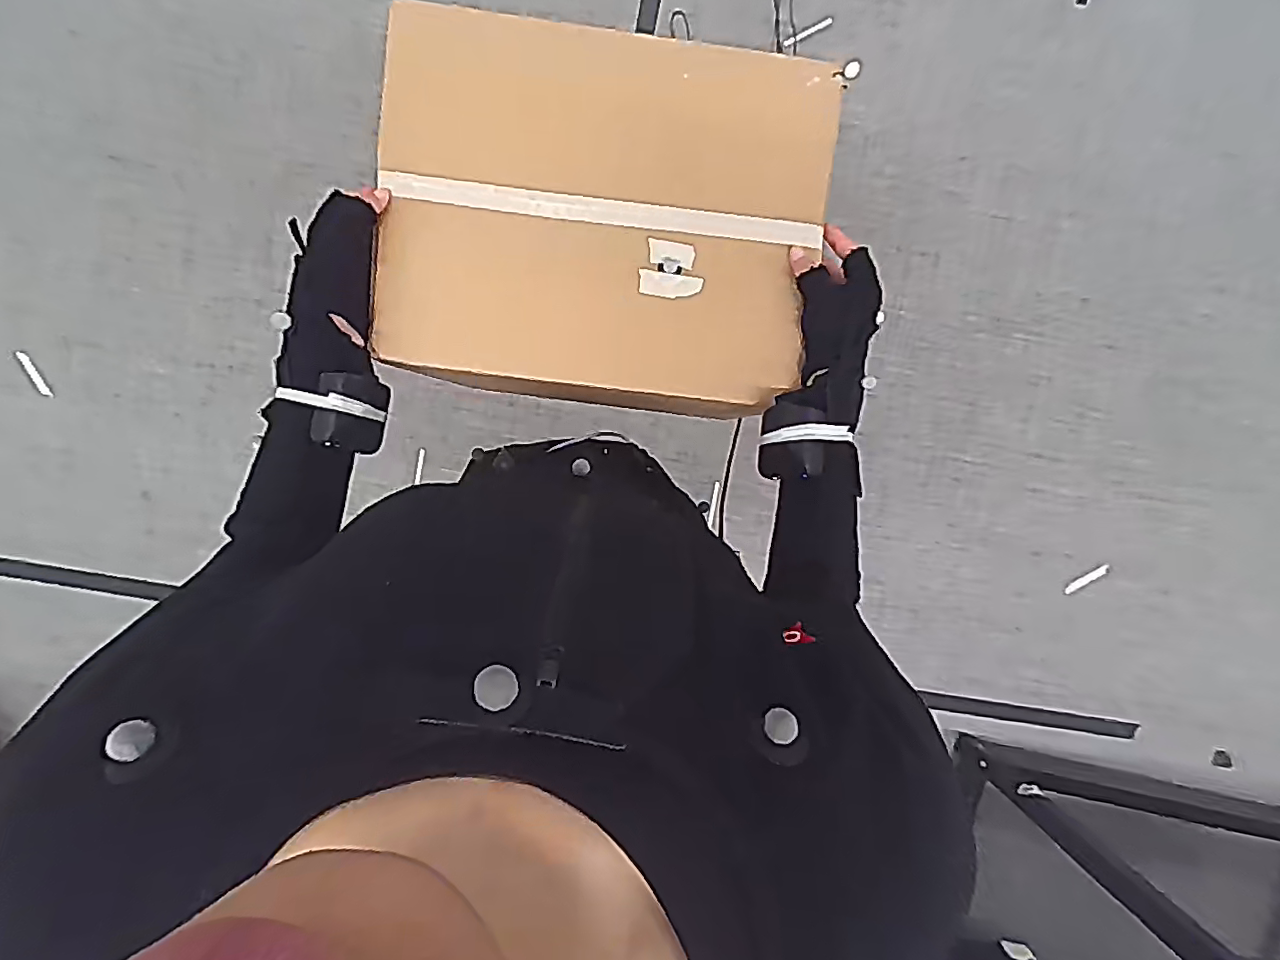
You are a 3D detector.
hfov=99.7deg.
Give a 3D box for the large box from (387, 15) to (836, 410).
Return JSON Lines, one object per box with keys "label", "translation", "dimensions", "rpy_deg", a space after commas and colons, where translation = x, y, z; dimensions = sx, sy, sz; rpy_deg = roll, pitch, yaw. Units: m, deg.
{"label": "large box", "translation": [-0.036, -0.263, 0.656], "dimensions": [0.408, 0.320, 0.320], "rpy_deg": [7, 96, -3]}
